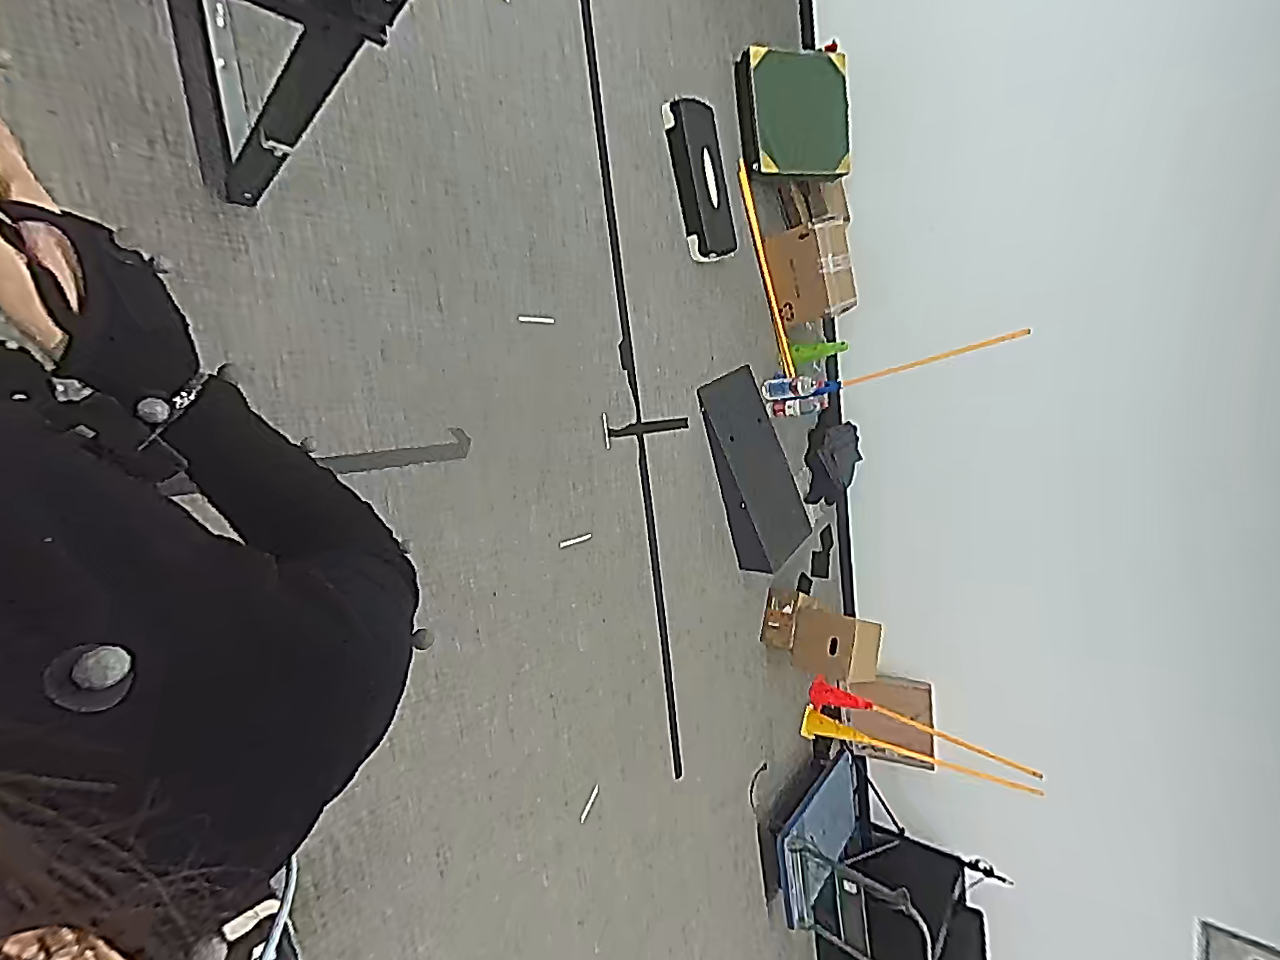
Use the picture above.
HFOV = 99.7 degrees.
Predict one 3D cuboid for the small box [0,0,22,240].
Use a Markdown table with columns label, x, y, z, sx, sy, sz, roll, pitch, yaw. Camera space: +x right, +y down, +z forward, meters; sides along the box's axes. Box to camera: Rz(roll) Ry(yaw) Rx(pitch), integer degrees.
| label | x | y | z | sx | sy | sz | roll | pitch | yaw |
| --- | --- | --- | --- | --- | --- | --- | --- | --- | --- |
| small box | -0.441 | -0.221 | 0.260 | 0.179 | 0.176 | 0.168 | -4 | 101 | -52 |
